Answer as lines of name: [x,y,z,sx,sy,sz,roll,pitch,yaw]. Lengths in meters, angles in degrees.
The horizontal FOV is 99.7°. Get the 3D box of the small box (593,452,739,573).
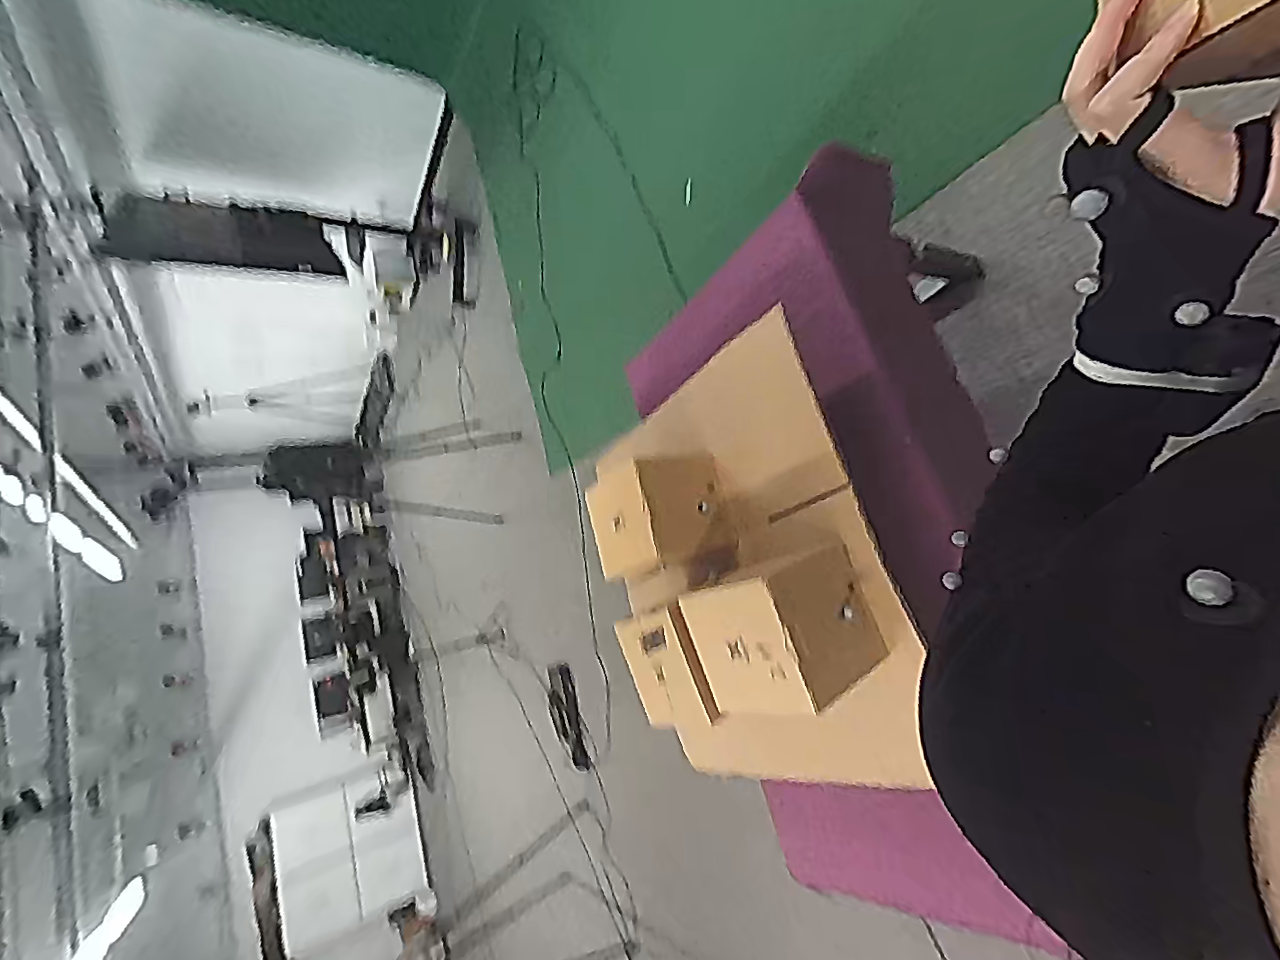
small box: [0.043,0.058,0.954,0.179,0.176,0.168,-34,66,51]
